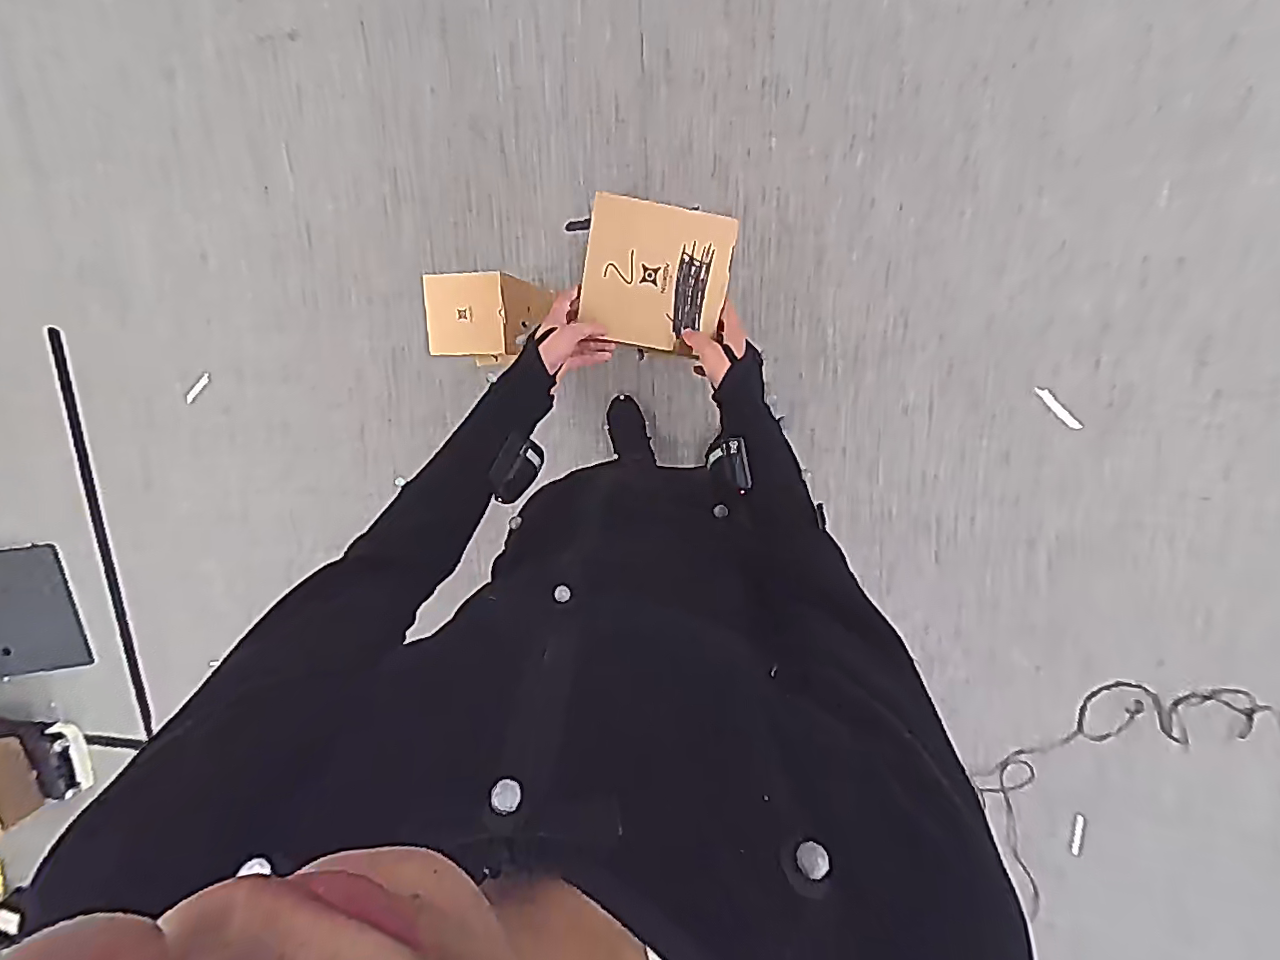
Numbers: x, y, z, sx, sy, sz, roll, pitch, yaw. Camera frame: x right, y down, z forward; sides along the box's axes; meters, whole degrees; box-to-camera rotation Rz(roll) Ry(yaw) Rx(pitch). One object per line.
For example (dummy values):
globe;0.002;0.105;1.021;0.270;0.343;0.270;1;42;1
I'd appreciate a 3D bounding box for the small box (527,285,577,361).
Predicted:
small box;-0.285;-0.432;1.510;0.168;0.176;0.179;-6;101;10

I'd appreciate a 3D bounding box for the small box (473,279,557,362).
small box;-0.317;-0.393;1.354;0.168;0.176;0.179;-4;102;10

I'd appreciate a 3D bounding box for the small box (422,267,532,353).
small box;-0.353;-0.369;1.197;0.179;0.176;0.168;1;102;9

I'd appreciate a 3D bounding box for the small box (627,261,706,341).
small box;0.067;-0.422;1.289;0.179;0.176;0.168;2;102;7

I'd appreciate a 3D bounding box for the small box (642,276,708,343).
small box;0.090;-0.456;1.448;0.179;0.176;0.168;1;103;8
